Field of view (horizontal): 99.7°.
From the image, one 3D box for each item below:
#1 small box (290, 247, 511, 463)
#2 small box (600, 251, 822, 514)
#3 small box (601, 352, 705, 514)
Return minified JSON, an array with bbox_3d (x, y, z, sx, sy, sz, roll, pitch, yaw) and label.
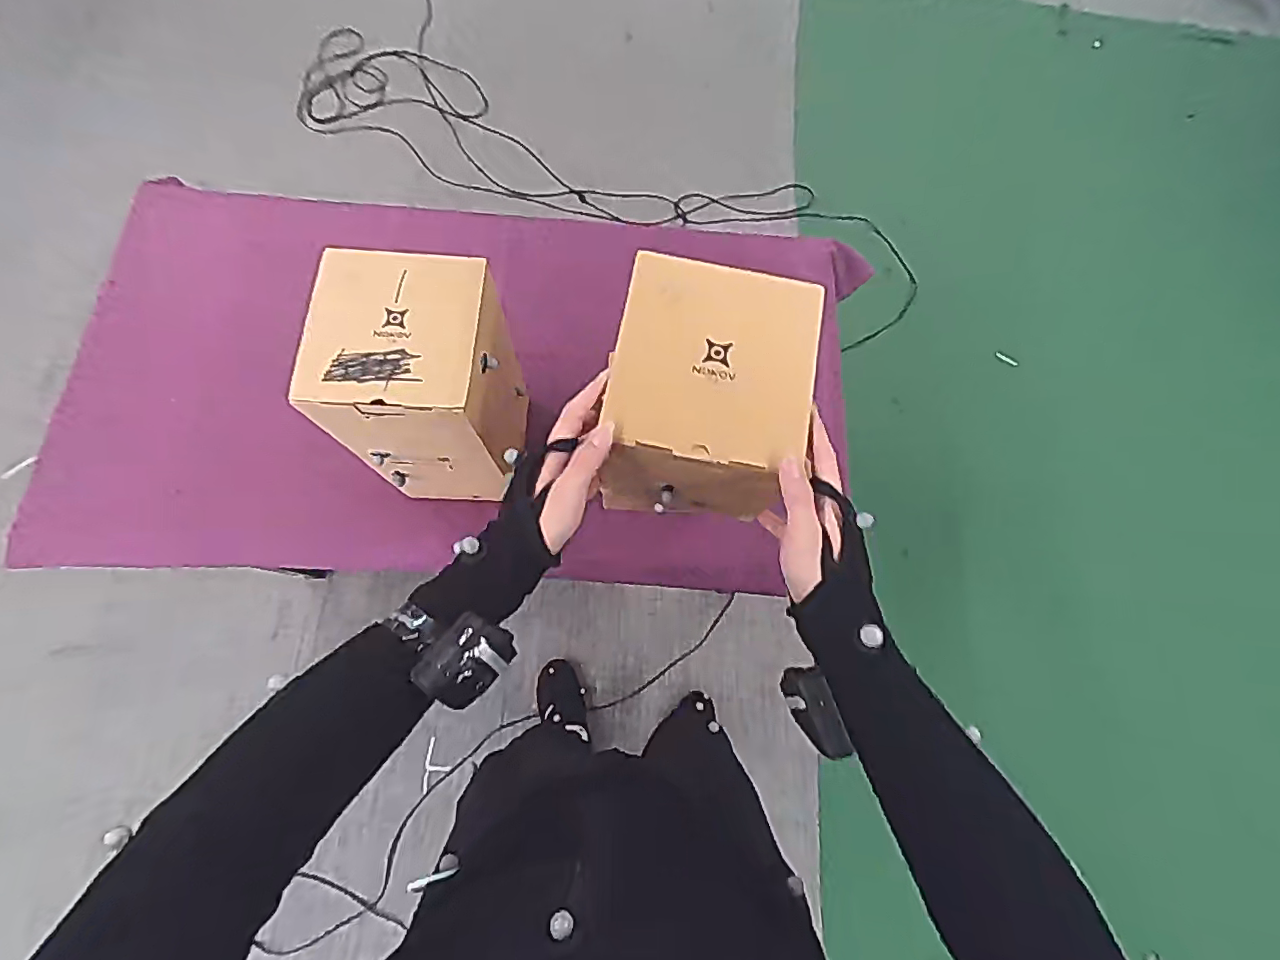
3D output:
[{"bbox_3d":[-0.246,-0.127,0.606,0.168,0.176,0.179,3,72,-3],"label":"small box"},{"bbox_3d":[0.057,-0.079,0.520,0.168,0.176,0.179,11,75,-1],"label":"small box"},{"bbox_3d":[0.032,-0.060,0.777,0.168,0.176,0.179,3,72,-2],"label":"small box"}]
